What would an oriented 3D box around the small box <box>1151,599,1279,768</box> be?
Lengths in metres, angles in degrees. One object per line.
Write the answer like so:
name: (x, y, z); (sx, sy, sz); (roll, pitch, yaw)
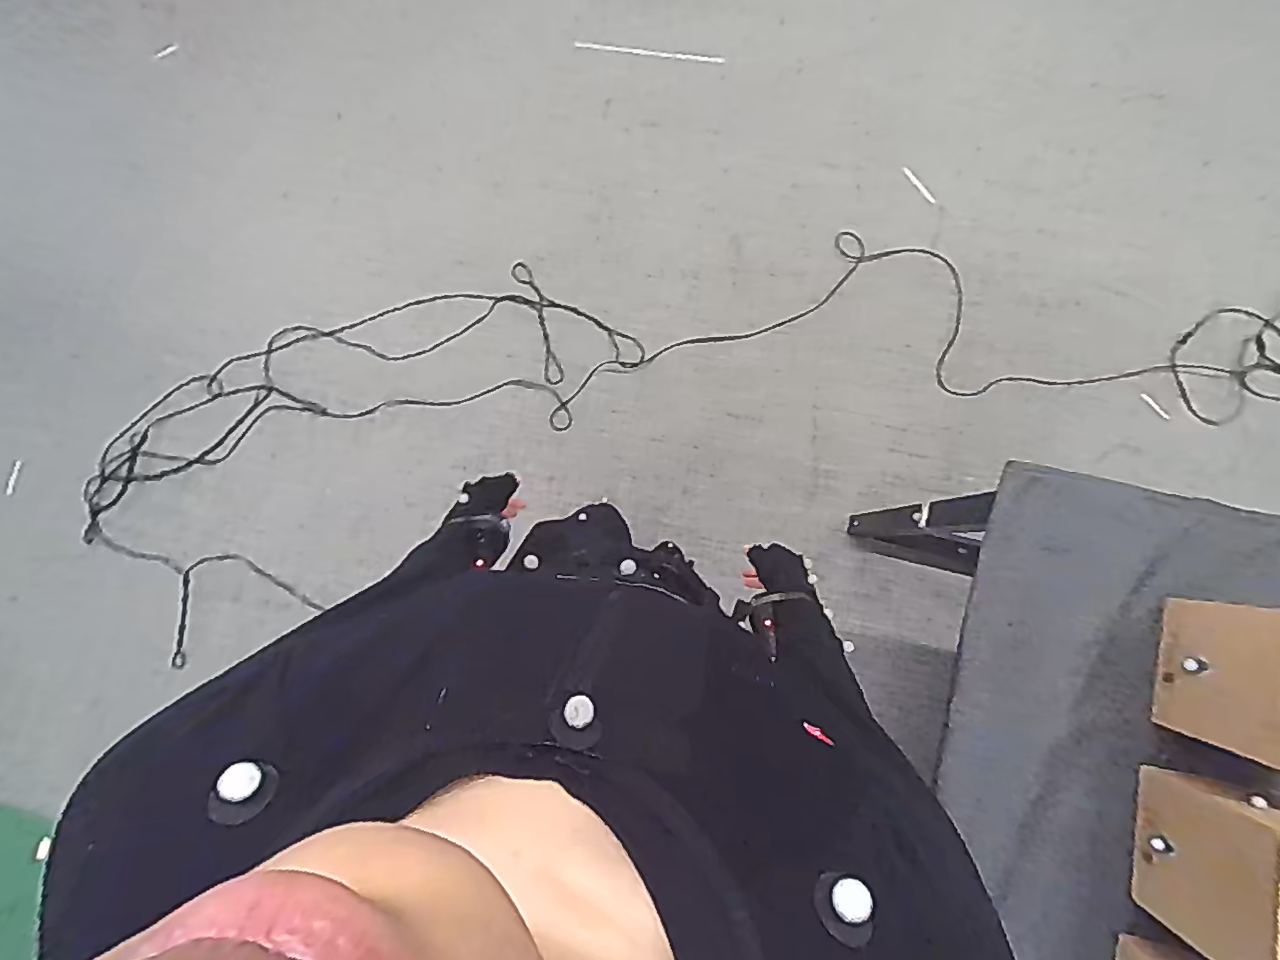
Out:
small box: (0.760, 0.240, 0.621); (0.179, 0.176, 0.168); (12, 85, 4)
